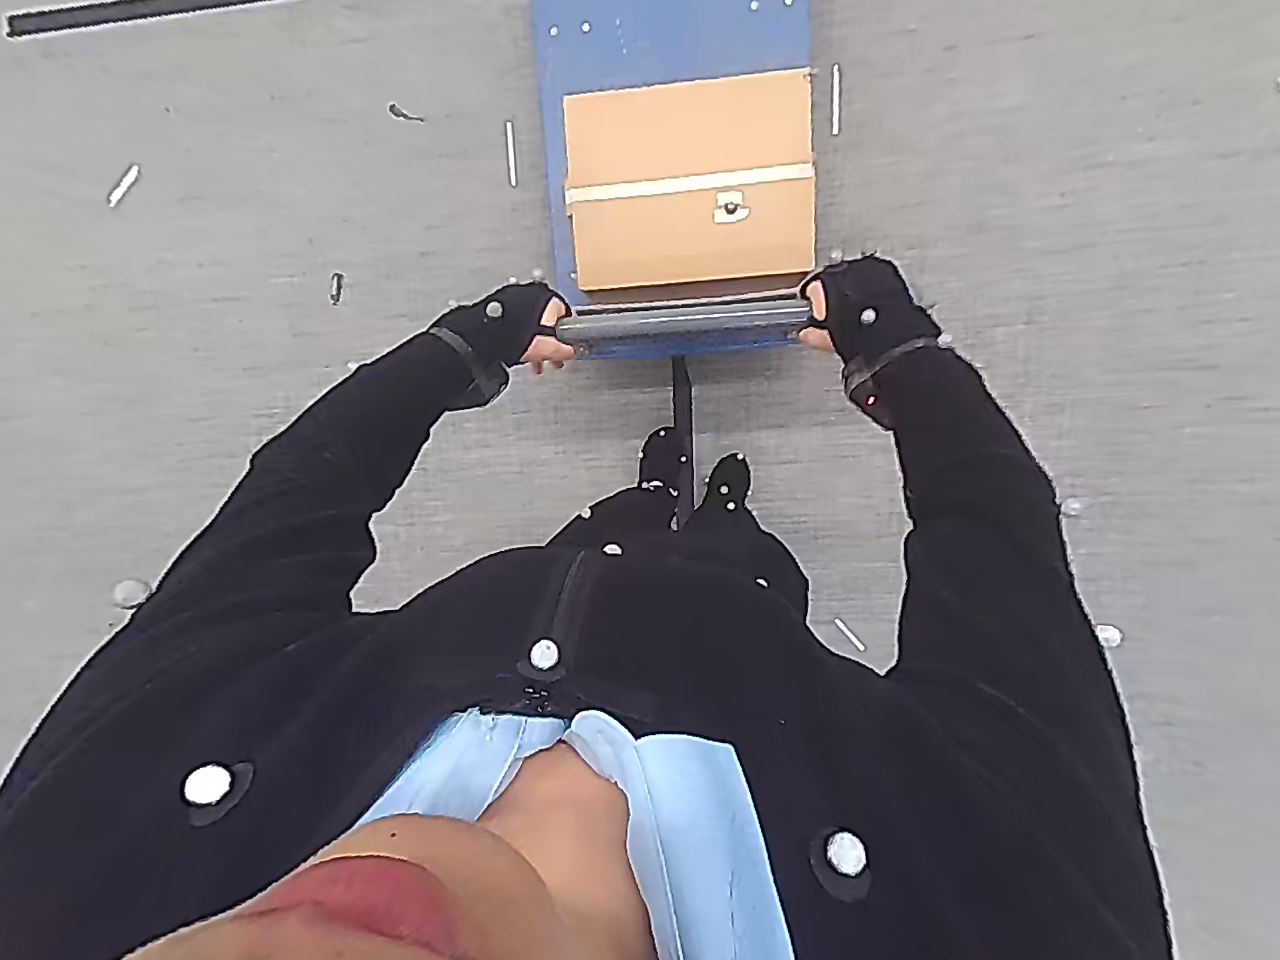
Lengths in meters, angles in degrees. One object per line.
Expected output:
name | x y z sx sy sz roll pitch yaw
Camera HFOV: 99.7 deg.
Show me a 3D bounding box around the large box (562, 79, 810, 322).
large box | 0.085 -0.502 1.050 0.408 0.320 0.320 -3 99 4
